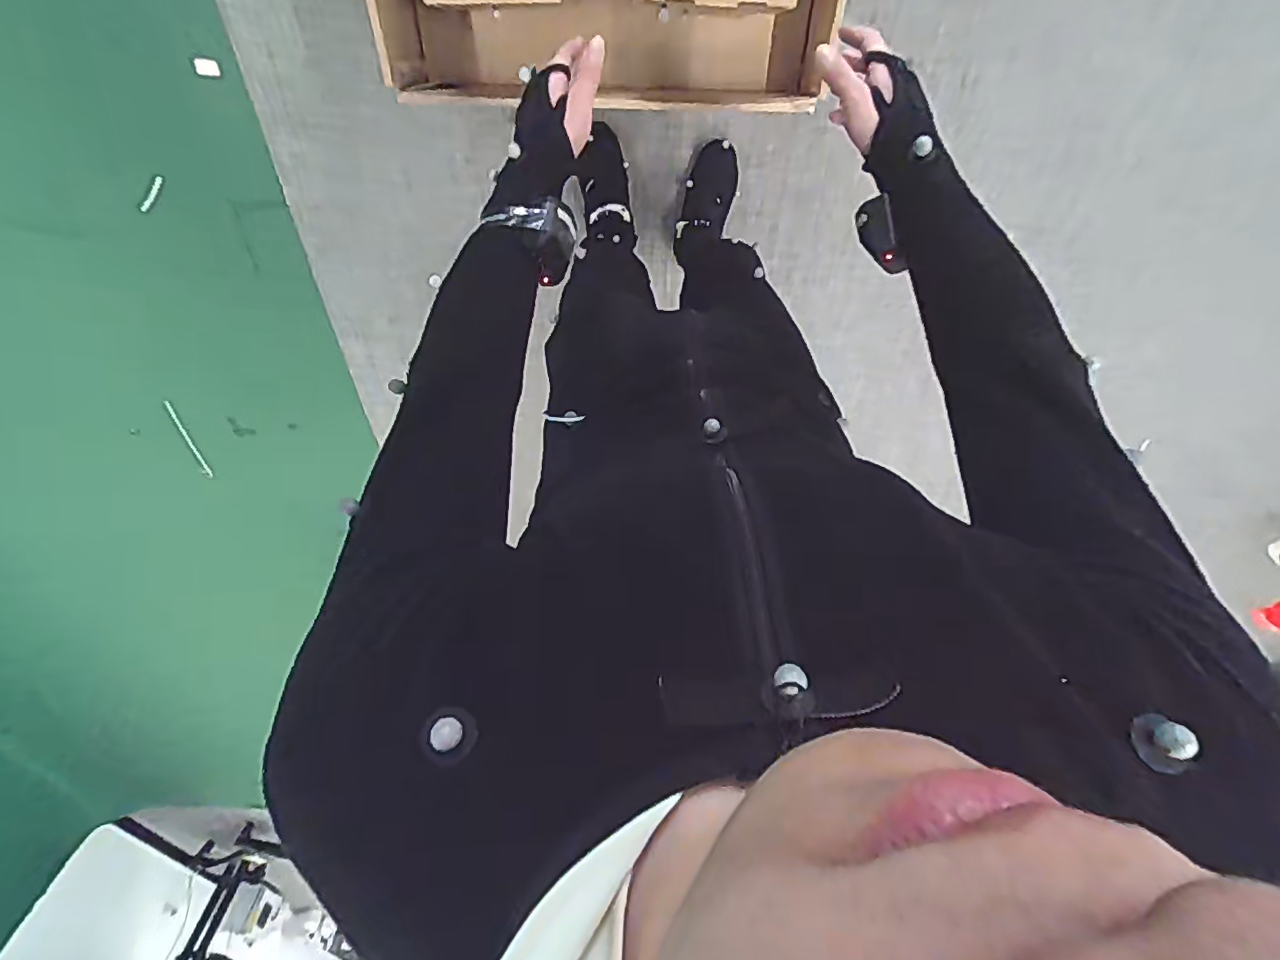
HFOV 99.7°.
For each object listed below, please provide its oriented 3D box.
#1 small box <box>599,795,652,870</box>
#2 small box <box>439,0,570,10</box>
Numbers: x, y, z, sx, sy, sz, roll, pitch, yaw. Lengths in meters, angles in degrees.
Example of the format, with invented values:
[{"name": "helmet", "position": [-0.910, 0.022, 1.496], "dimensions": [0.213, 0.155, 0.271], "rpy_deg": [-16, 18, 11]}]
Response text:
[{"name": "small box", "position": [-0.044, 1.165, 1.791], "dimensions": [0.168, 0.176, 0.179], "rpy_deg": [0, 130, 3]}, {"name": "small box", "position": [-0.183, -0.709, 0.685], "dimensions": [0.179, 0.176, 0.168], "rpy_deg": [0, 129, 0]}]
